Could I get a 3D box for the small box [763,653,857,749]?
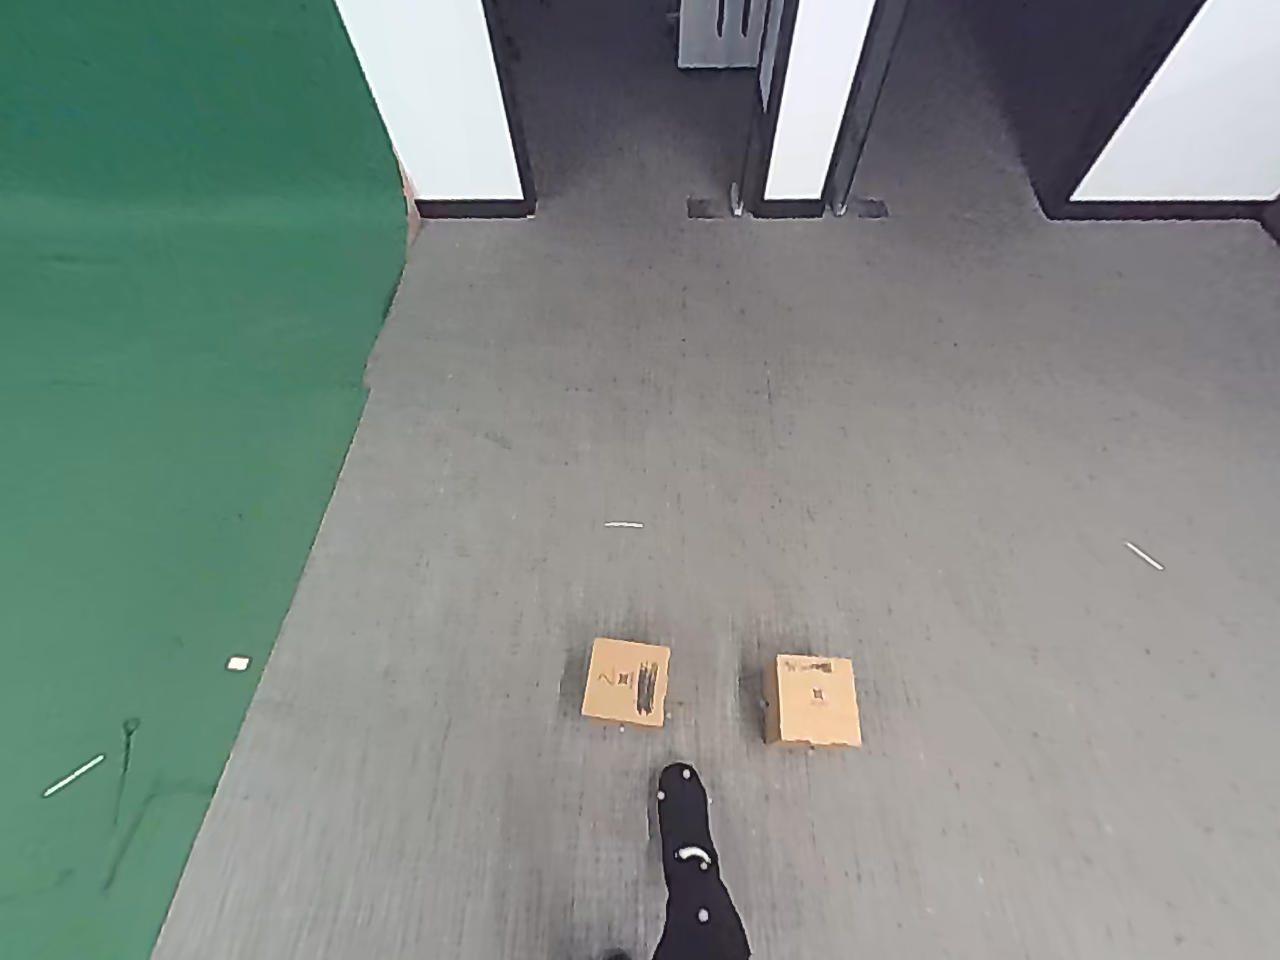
[{"bbox_3d":[0.374,0.501,1.217,0.168,0.176,0.179,4,60,3],"label":"small box"}]
